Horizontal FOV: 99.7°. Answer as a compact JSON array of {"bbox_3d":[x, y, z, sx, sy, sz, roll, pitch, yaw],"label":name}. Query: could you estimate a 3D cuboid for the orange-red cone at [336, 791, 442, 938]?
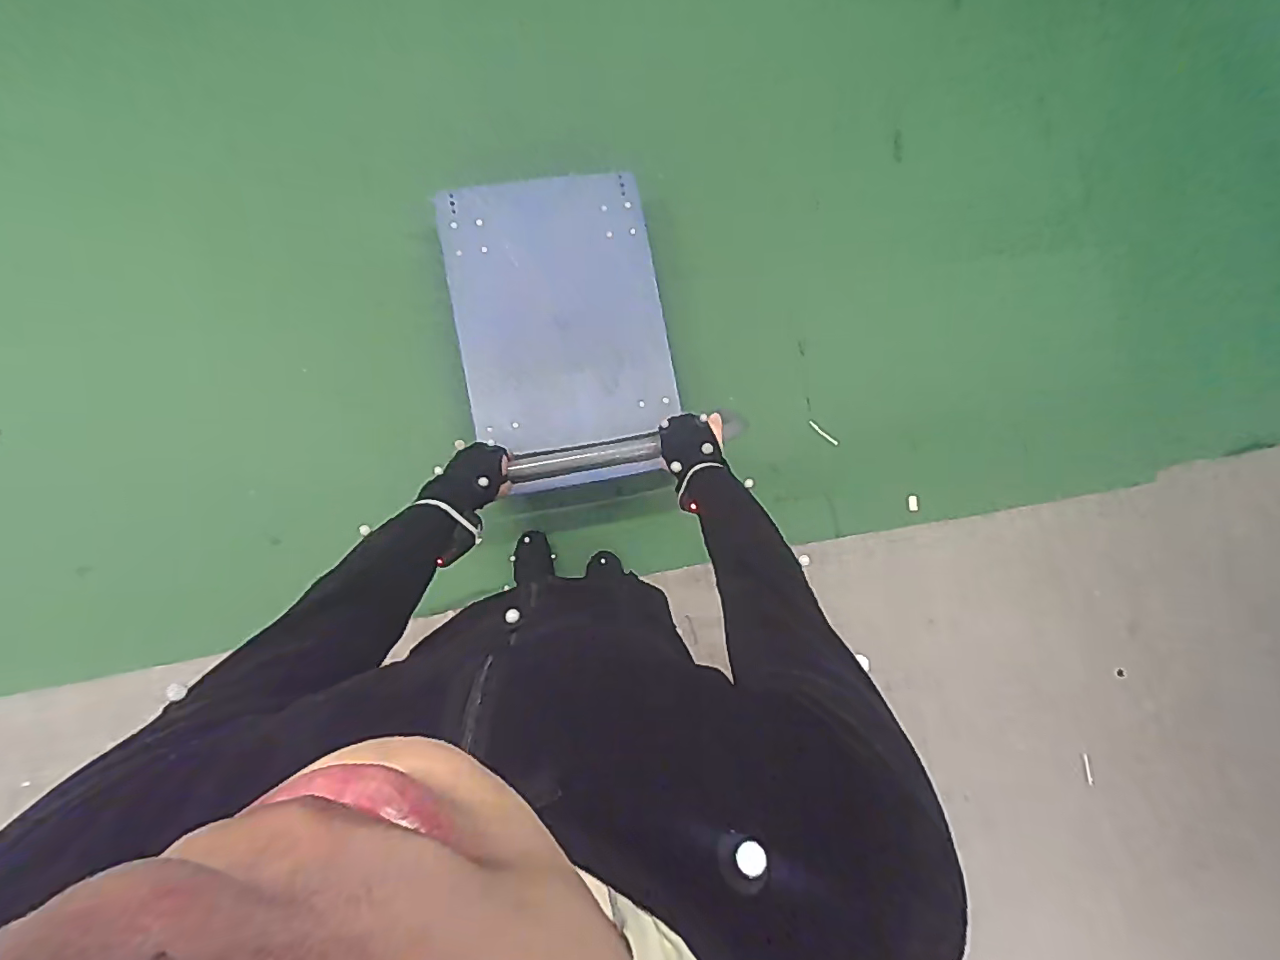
[{"bbox_3d":[-0.661,0.988,1.347,0.199,0.360,0.198,-24,89,-6],"label":"orange-red cone"}]
